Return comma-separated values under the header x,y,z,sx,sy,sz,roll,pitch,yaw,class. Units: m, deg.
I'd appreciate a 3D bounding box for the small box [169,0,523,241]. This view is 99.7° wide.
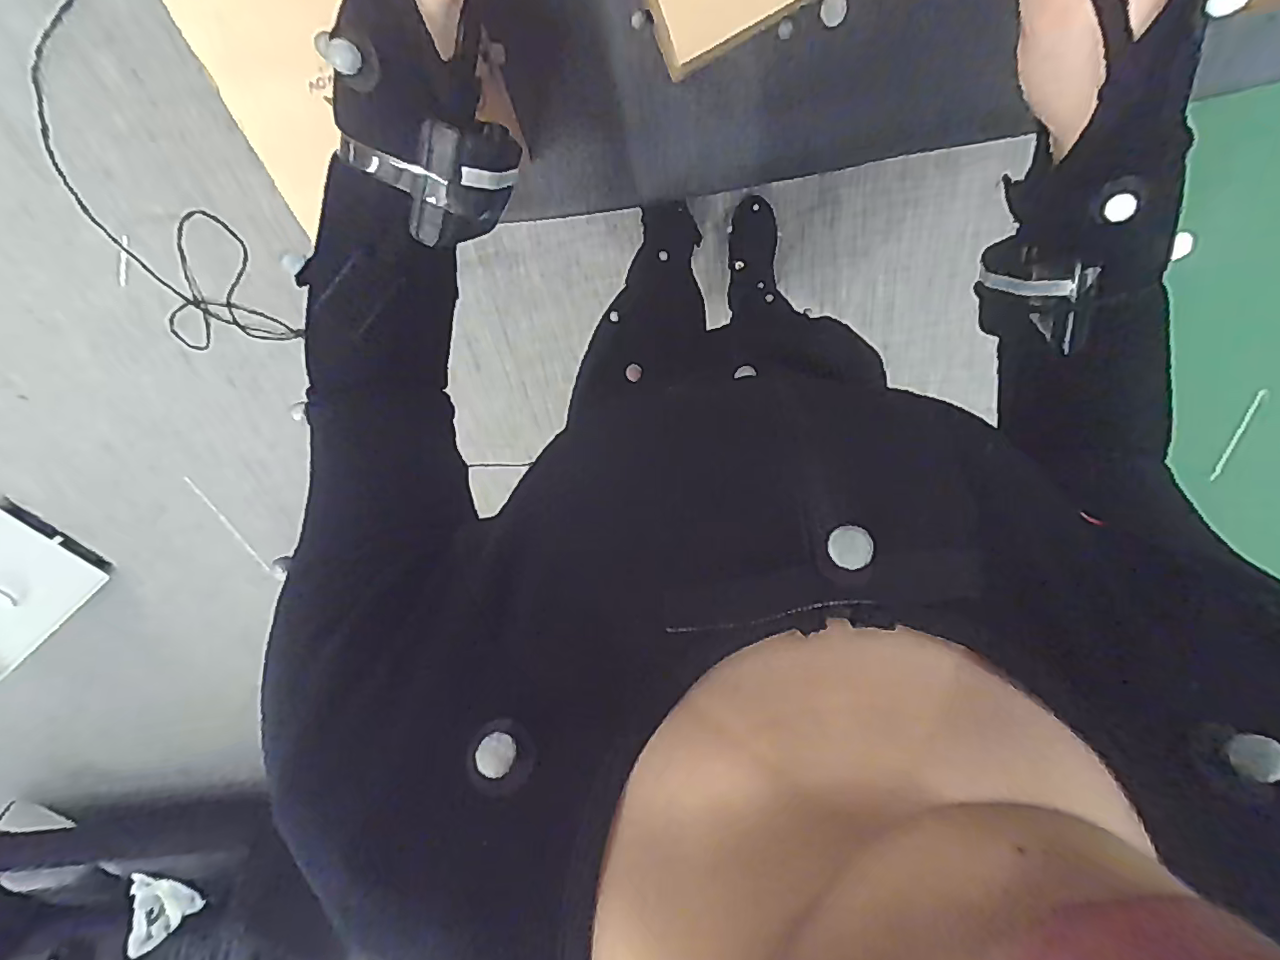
x,y,z,sx,sy,sz,roll,pitch,yaw,class
-0.217,-0.329,0.456,0.168,0.176,0.179,-12,126,11,small box

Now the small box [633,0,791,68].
x,y,z,sx,sy,sz,roll,pitch,yaw,class
0.060,-0.422,0.378,0.179,0.176,0.168,-22,123,17,small box
